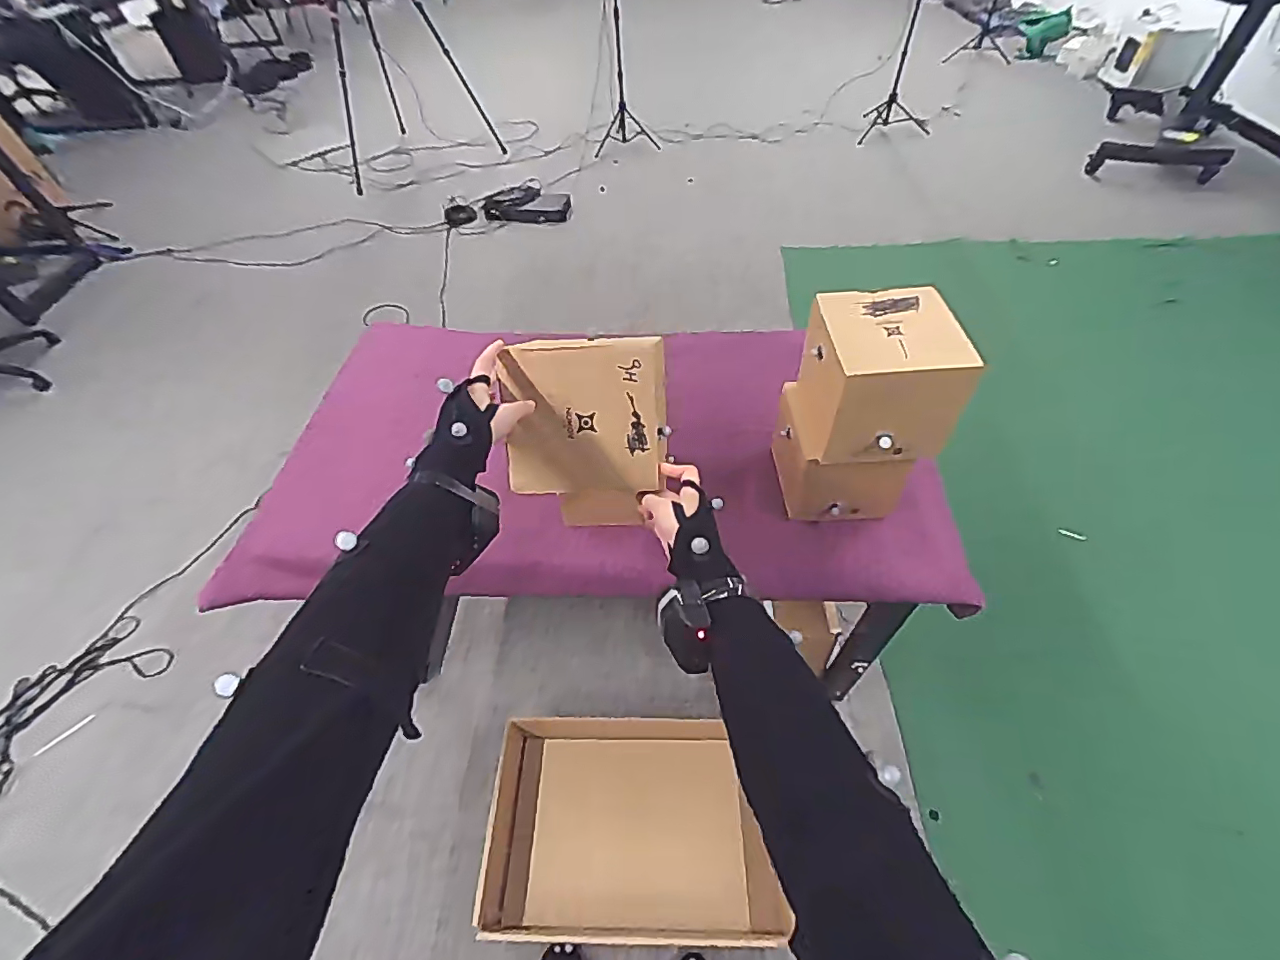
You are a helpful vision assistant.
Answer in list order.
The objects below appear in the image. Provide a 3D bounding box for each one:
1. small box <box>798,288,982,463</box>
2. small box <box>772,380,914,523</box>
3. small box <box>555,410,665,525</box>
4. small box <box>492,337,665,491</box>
[{"bbox_3d":[0.327,-0.143,0.754,0.168,0.176,0.179,-3,51,3],"label":"small box"},{"bbox_3d":[0.320,-0.048,0.889,0.168,0.176,0.179,-3,50,3],"label":"small box"},{"bbox_3d":[-0.046,-0.037,0.903,0.179,0.176,0.168,-2,50,3],"label":"small box"},{"bbox_3d":[-0.064,-0.089,0.671,0.179,0.168,0.176,0,17,7],"label":"small box"}]
